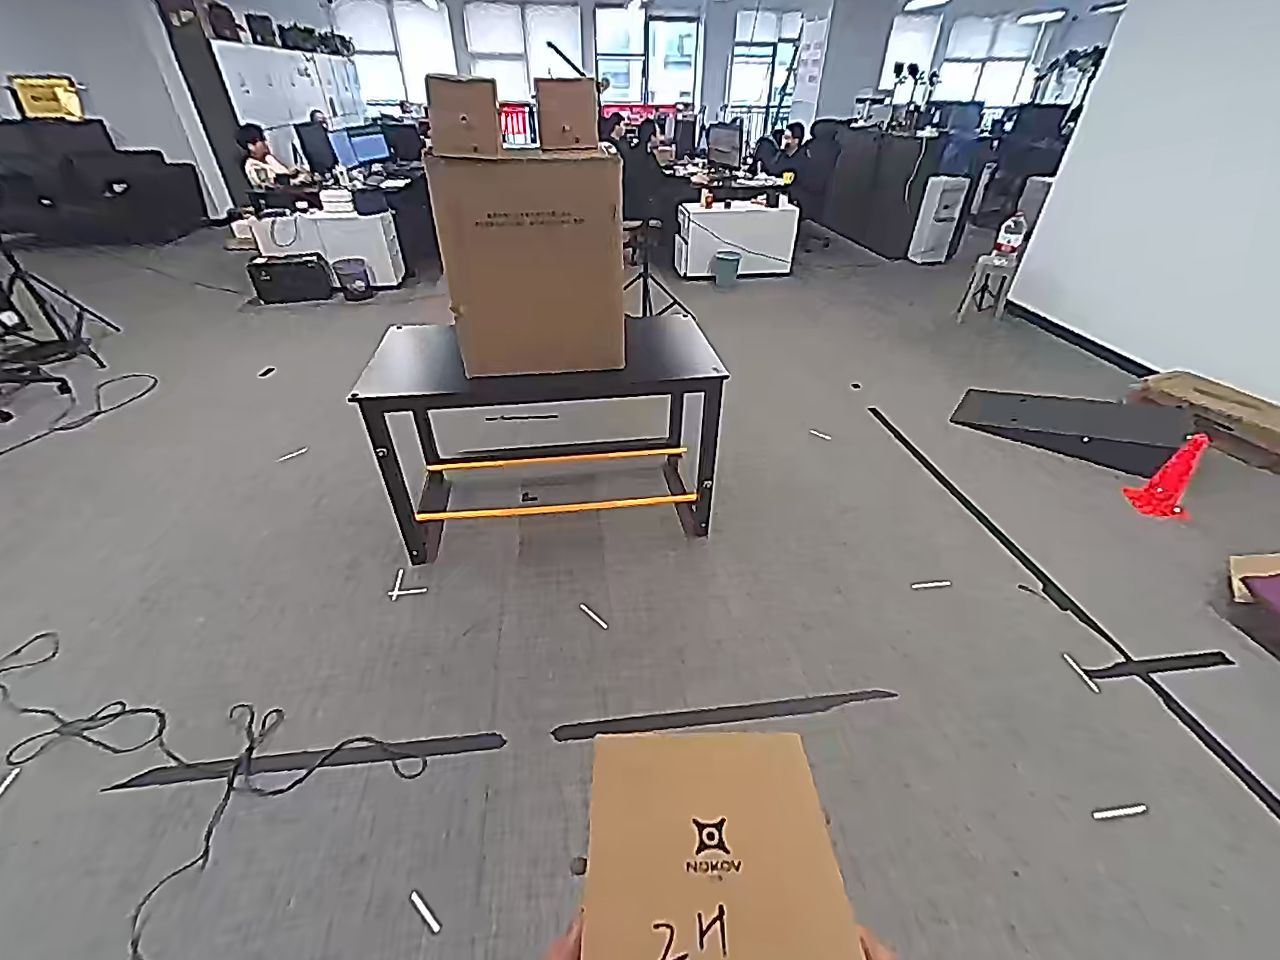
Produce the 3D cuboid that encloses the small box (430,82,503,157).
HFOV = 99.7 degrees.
[{"bbox_3d":[-0.494,-1.041,1.561,0.168,0.176,0.179,-6,36,-8],"label":"small box"}]

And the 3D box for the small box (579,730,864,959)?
[{"bbox_3d":[0.047,0.315,0.401,0.168,0.176,0.179,-2,30,0],"label":"small box"}]

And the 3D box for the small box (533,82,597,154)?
[{"bbox_3d":[-0.220,-1.056,1.578,0.168,0.176,0.179,-8,36,-8],"label":"small box"}]
